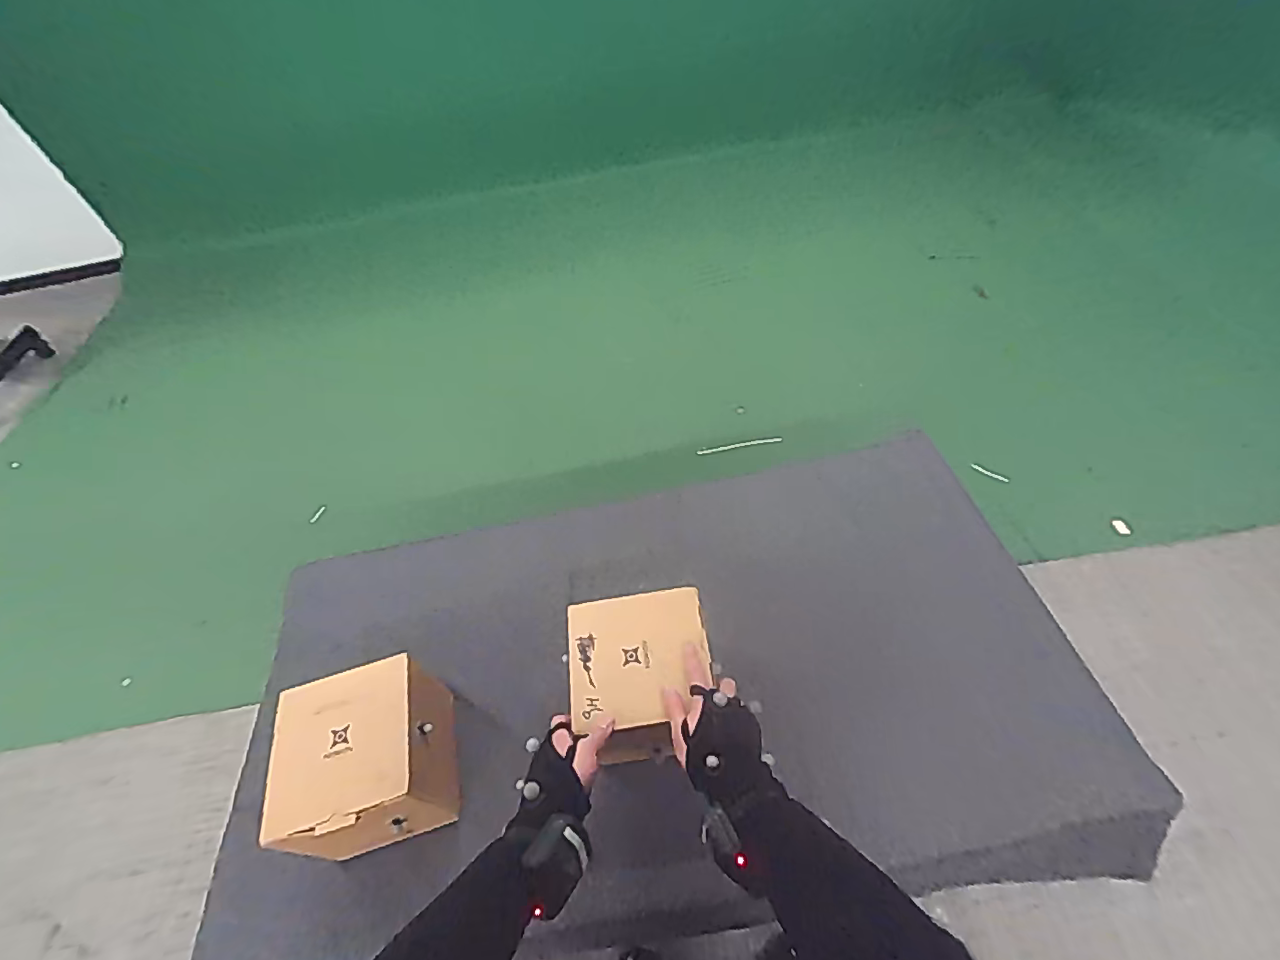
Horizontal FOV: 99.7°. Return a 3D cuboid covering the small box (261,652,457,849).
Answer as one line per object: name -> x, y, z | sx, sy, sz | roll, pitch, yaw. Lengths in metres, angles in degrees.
small box -> -0.351, 0.361, 0.711 | 0.168, 0.176, 0.179 | -16, 49, -6

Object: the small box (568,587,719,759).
small box -> 0.005, 0.264, 0.732 | 0.179, 0.176, 0.168 | -9, 52, 1
